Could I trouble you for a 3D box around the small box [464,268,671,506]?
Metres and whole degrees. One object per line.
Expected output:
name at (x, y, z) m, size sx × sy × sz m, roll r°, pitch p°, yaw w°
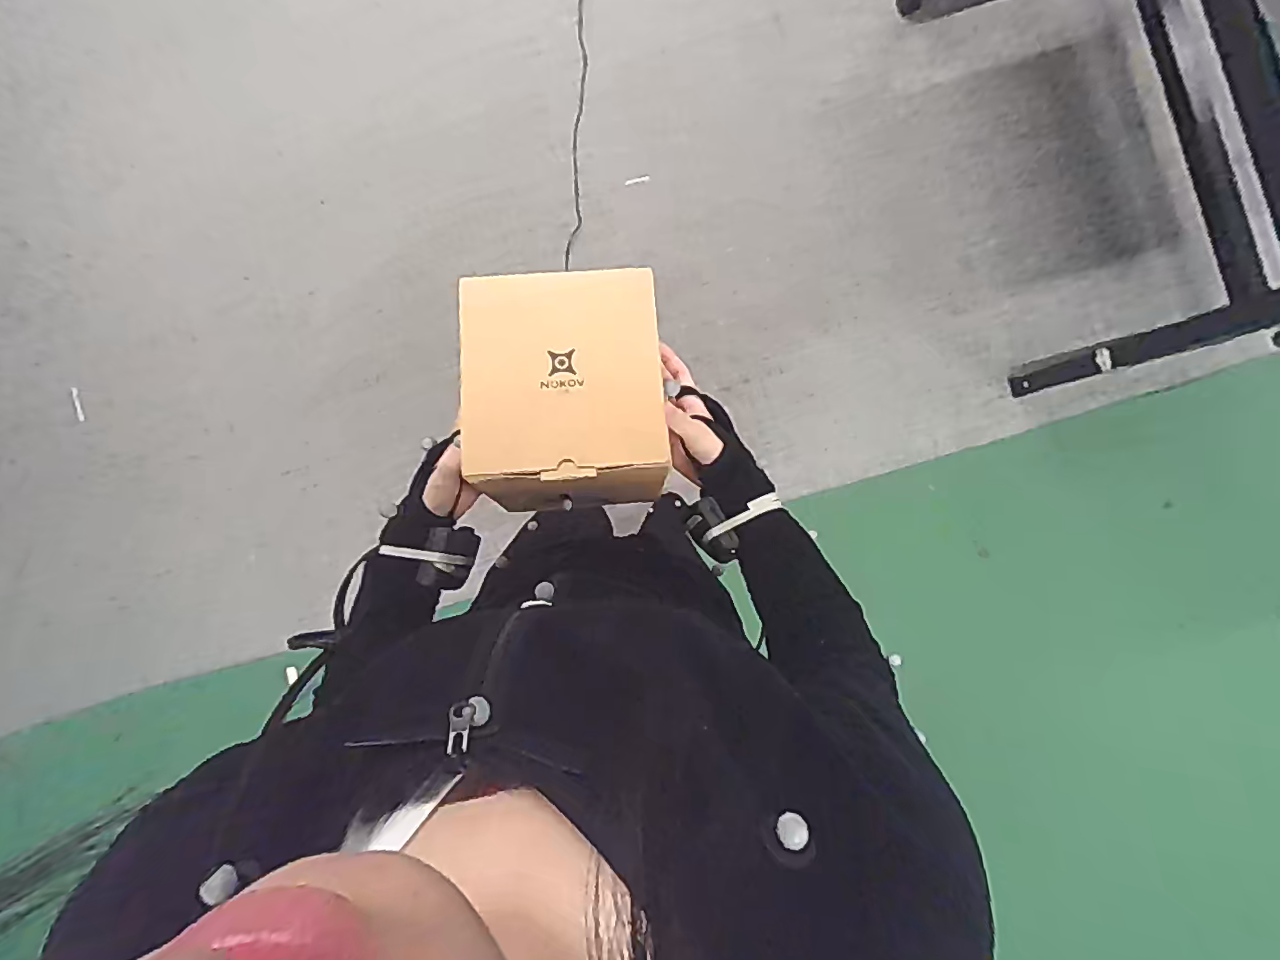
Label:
small box at (-0.066, -0.078, 0.526) m, size 0.168 × 0.176 × 0.179 m, roll -5°, pitch 80°, yaw -3°
